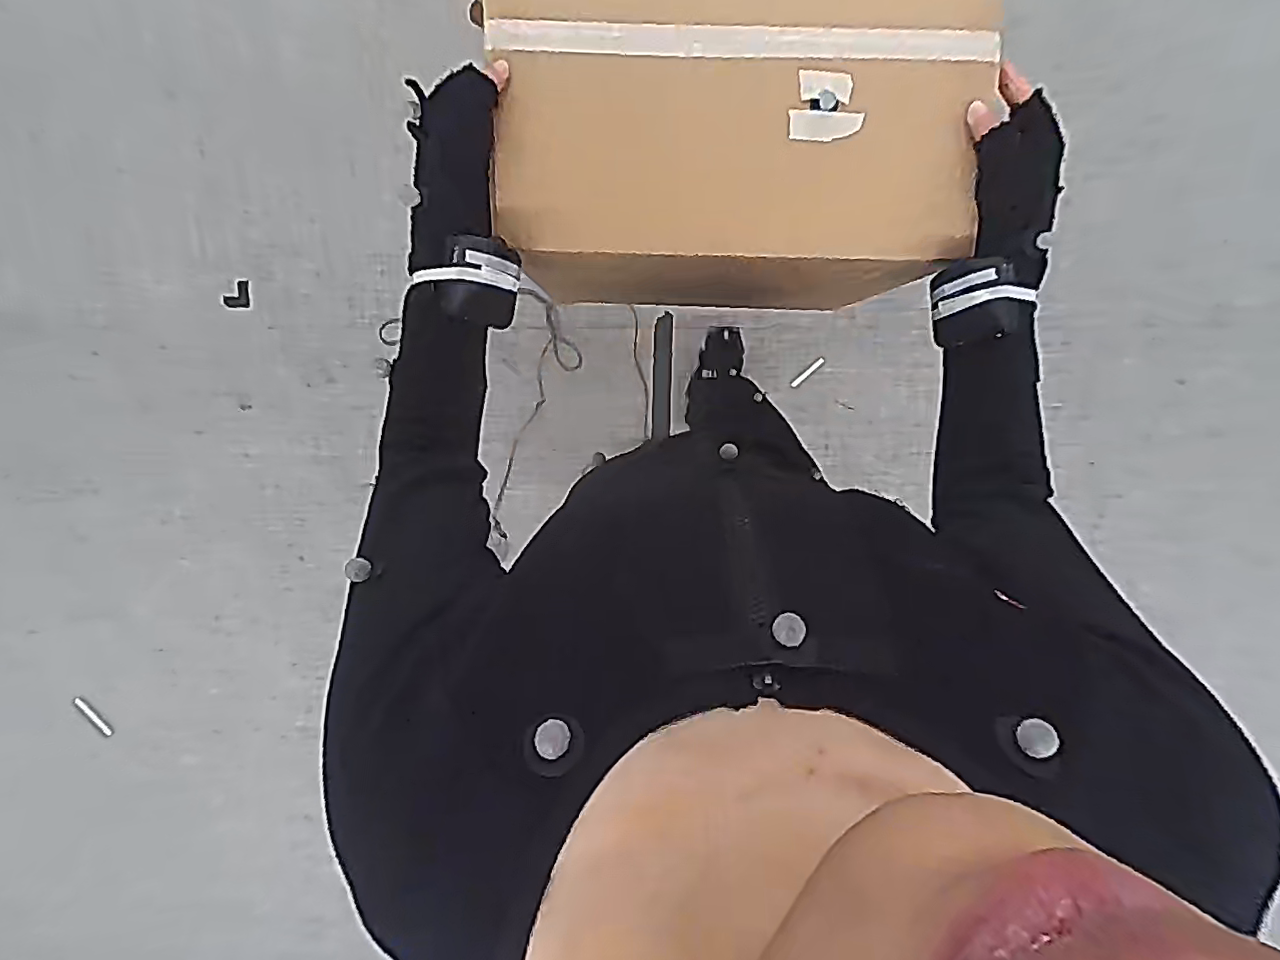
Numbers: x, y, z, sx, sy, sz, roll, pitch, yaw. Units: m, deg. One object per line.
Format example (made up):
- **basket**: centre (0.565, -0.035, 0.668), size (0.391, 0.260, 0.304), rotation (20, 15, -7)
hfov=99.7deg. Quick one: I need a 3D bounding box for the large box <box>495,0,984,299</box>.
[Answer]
- **large box**: centre (0.077, -0.381, 0.591), size (0.408, 0.320, 0.320), rotation (1, 101, -1)
